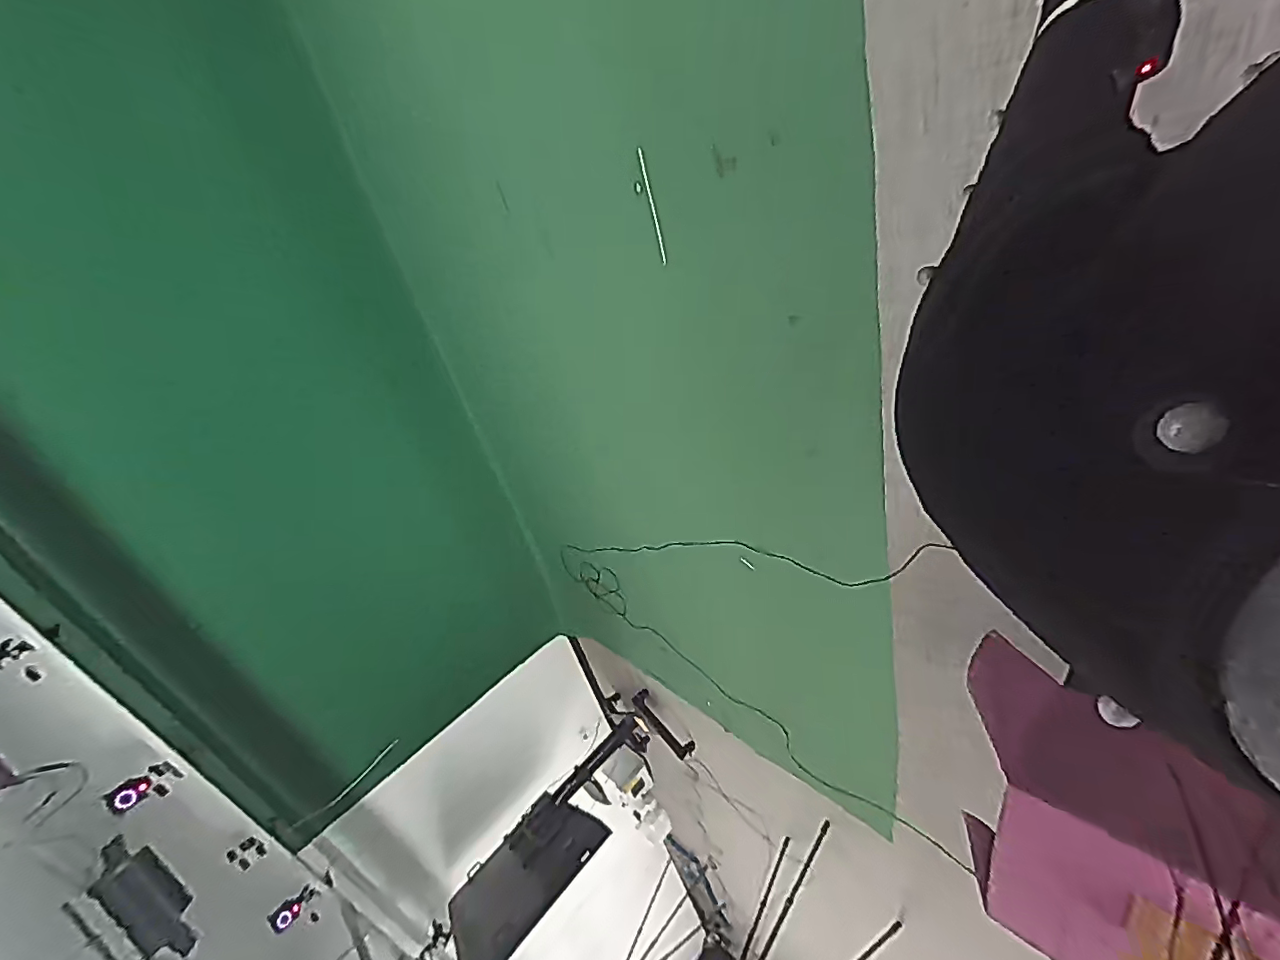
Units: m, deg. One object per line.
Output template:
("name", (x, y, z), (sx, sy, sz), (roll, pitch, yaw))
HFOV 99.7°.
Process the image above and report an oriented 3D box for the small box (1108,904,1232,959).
("small box", (0.916, 0.890, 0.922), (0.179, 0.176, 0.168), (15, 131, 46))
